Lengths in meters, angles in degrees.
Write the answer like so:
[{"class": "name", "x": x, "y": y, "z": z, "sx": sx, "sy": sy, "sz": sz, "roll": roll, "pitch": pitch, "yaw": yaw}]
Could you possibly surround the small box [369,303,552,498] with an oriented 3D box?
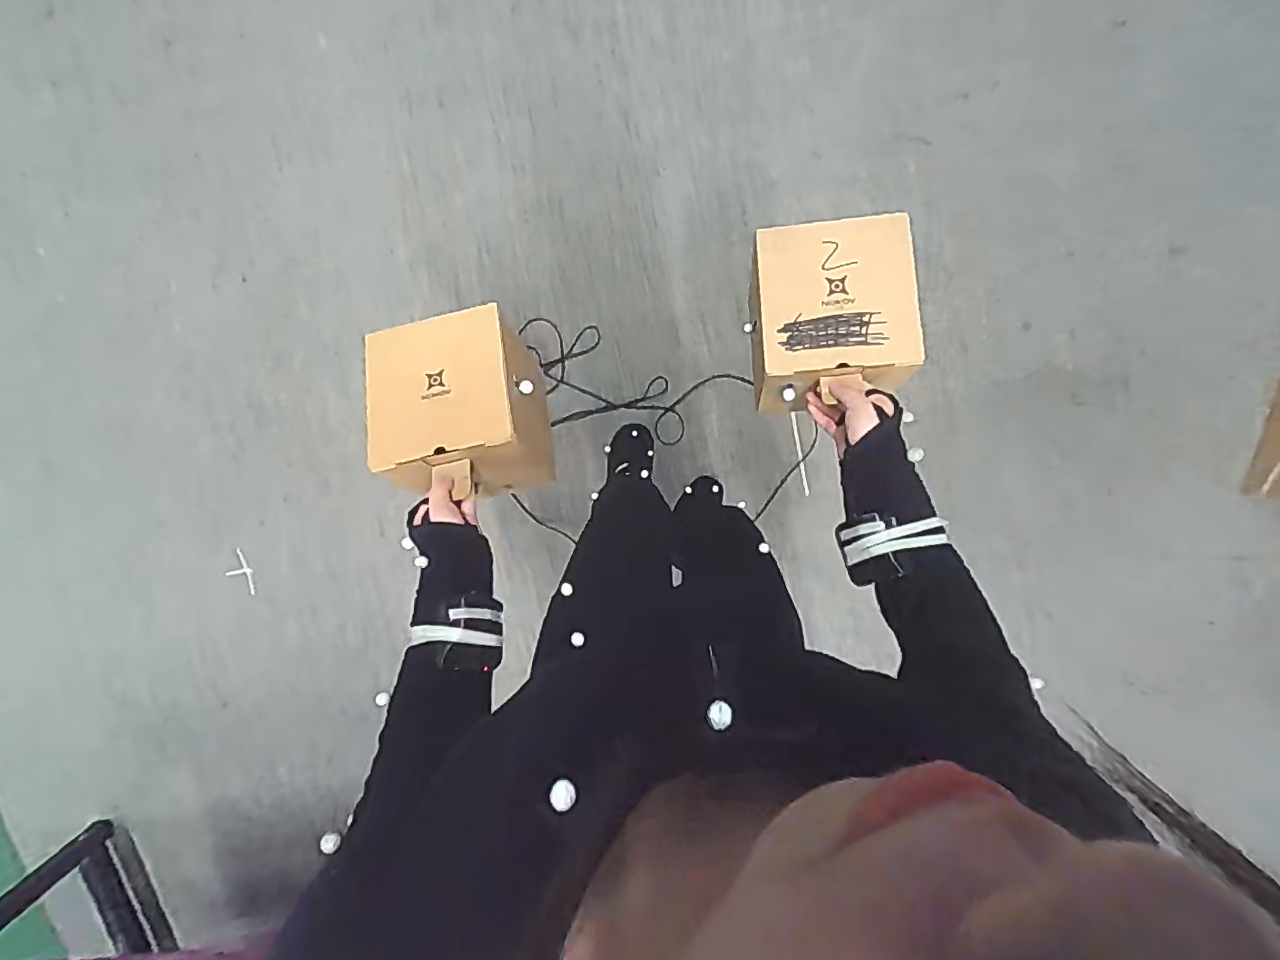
[{"class": "small box", "x": -0.220, "y": -0.091, "z": 0.691, "sx": 0.168, "sy": 0.176, "sz": 0.179, "roll": -11, "pitch": 73, "yaw": 5}]
